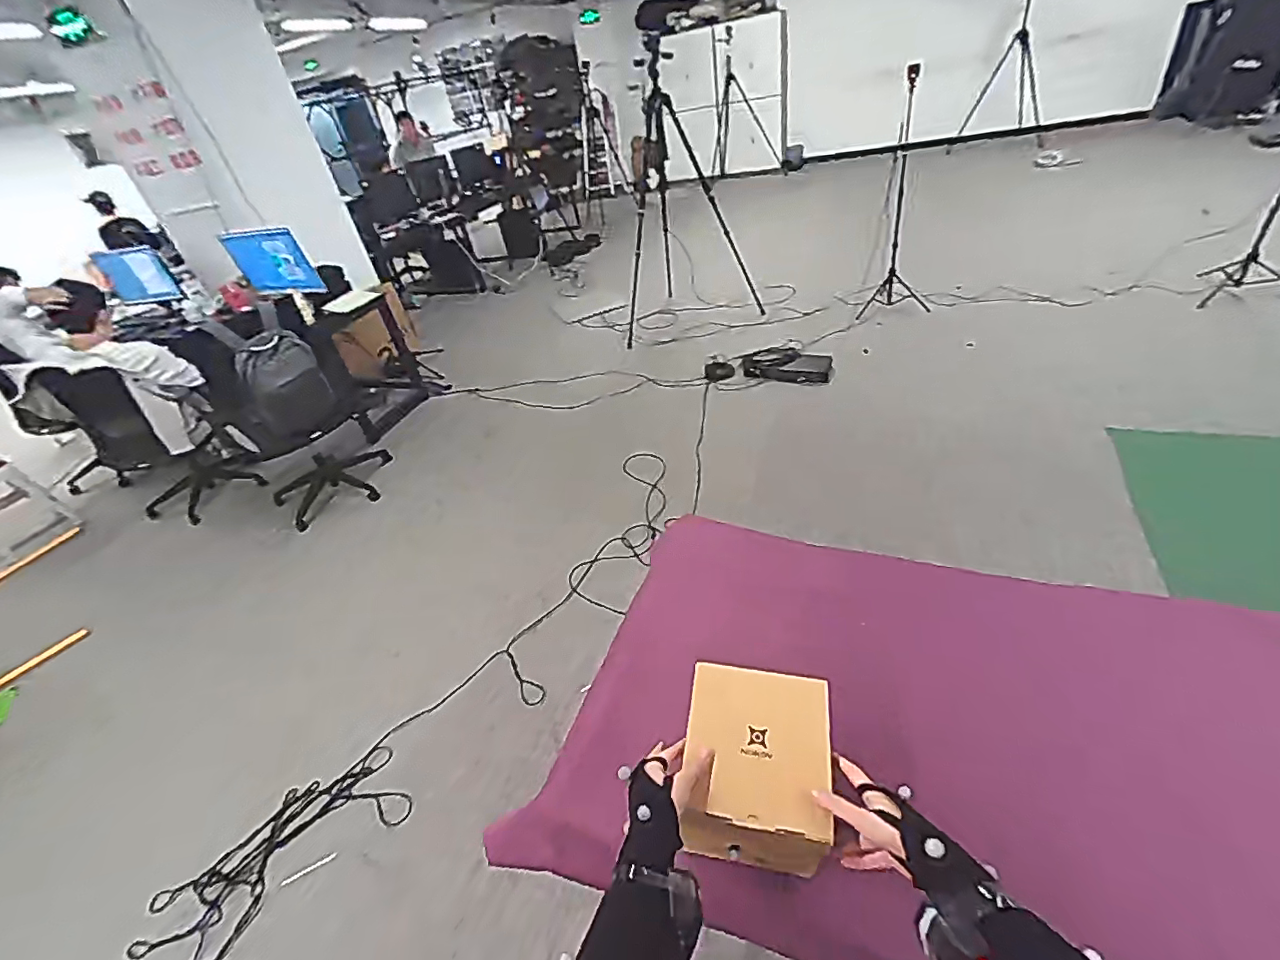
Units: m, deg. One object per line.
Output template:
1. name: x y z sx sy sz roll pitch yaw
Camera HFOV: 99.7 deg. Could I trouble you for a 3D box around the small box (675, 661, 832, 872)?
1. small box: 0.137 0.355 0.673 0.168 0.176 0.179 5 47 11
